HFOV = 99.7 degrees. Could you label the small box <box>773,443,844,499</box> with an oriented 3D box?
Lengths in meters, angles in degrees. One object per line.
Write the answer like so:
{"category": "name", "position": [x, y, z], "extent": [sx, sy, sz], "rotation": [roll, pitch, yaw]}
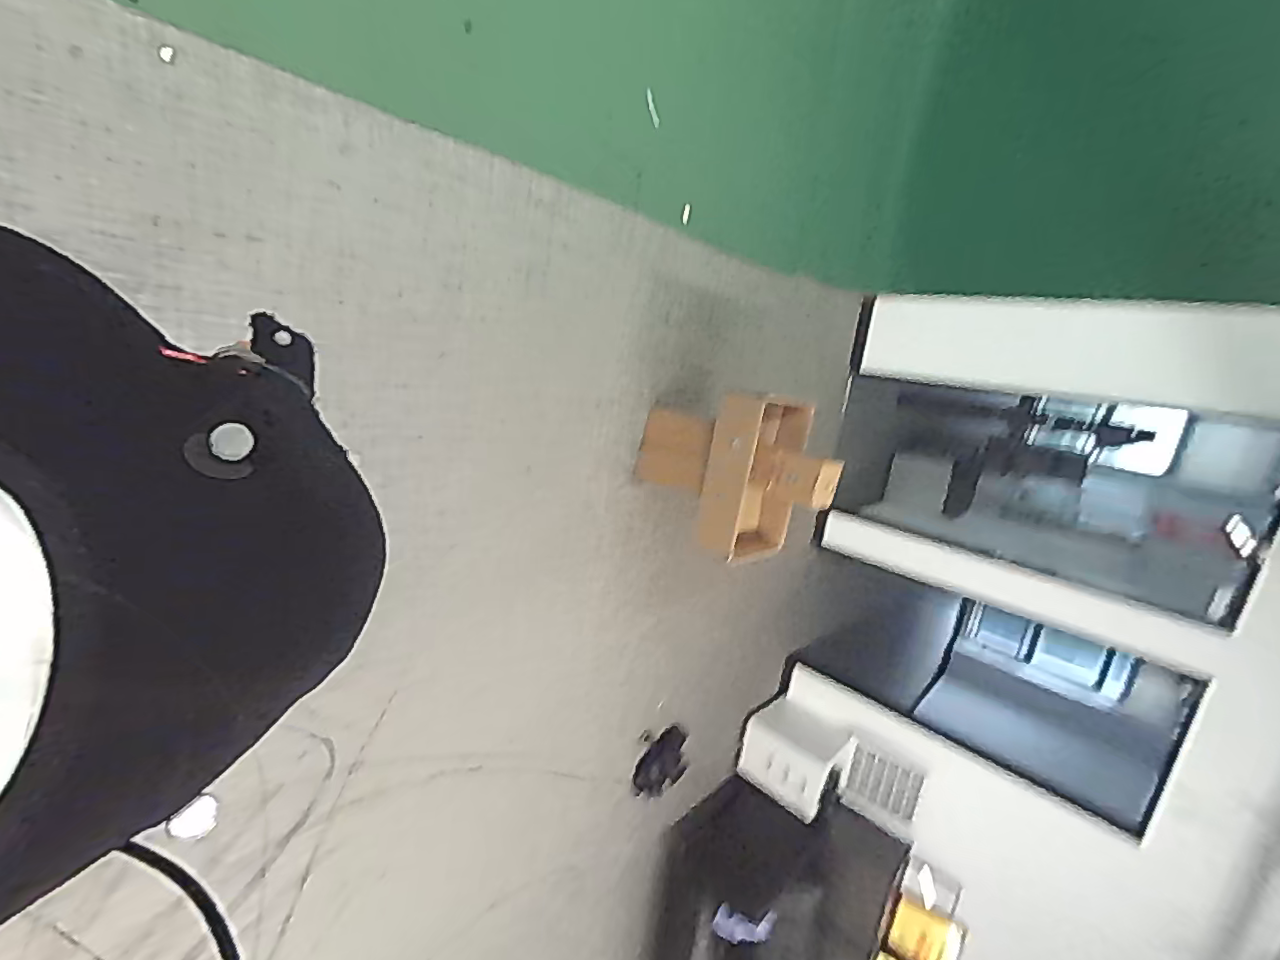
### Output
{"category": "small box", "position": [0.610, -0.033, 1.974], "extent": [0.179, 0.176, 0.168], "rotation": [-1, 109, -48]}

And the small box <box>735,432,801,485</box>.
{"category": "small box", "position": [0.486, -0.082, 2.069], "extent": [0.179, 0.176, 0.168], "rotation": [-2, 109, -50]}
